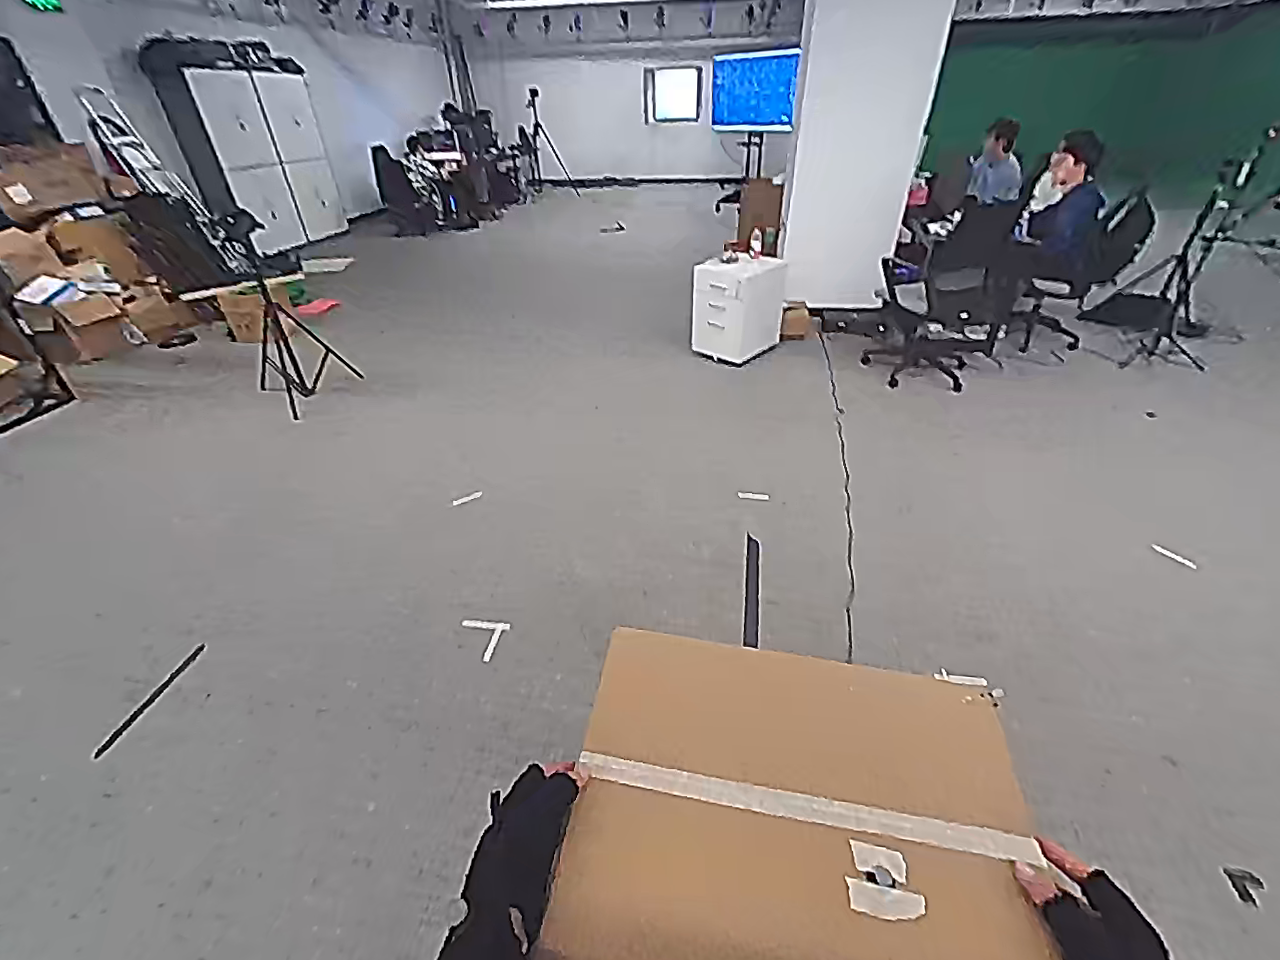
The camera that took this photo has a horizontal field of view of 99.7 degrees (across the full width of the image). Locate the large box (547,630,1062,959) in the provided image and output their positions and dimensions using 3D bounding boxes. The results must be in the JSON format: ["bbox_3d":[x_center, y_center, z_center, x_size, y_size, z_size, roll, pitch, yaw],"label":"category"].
[{"bbox_3d":[0.145,0.410,0.602,0.408,0.320,0.320,7,42,9],"label":"large box"}]
